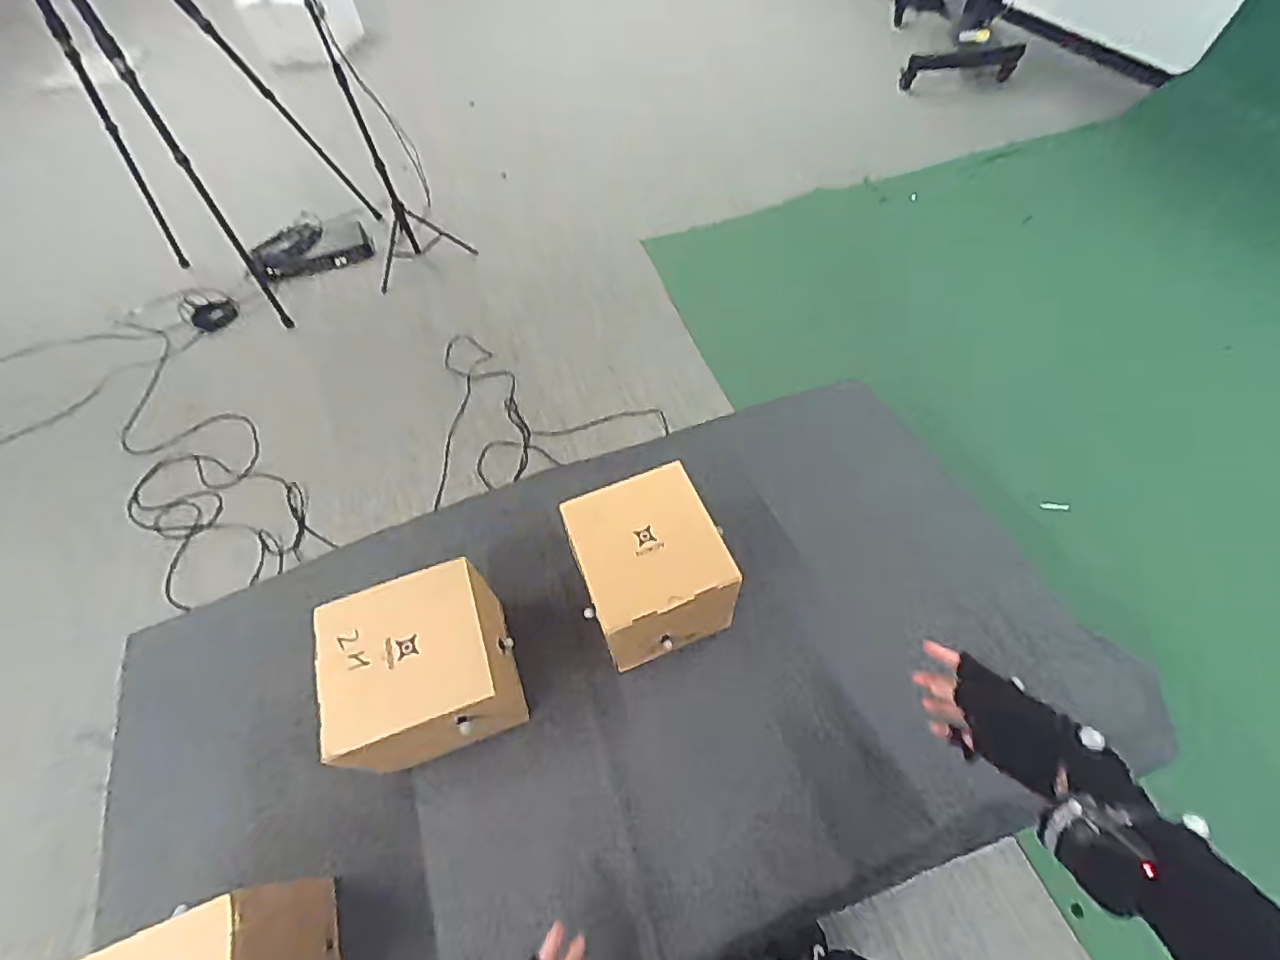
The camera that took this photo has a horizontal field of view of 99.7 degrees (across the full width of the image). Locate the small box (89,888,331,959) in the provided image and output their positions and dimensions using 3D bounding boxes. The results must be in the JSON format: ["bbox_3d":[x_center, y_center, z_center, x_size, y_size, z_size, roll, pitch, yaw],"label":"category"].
[{"bbox_3d":[-0.395,0.494,0.479,0.179,0.176,0.168,-20,57,-9],"label":"small box"}]

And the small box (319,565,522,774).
[{"bbox_3d":[-0.249,0.229,0.645,0.179,0.176,0.168,-18,58,-9],"label":"small box"}]

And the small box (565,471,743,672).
[{"bbox_3d":[0.013,0.122,0.705,0.168,0.176,0.179,-20,59,-10],"label":"small box"}]
